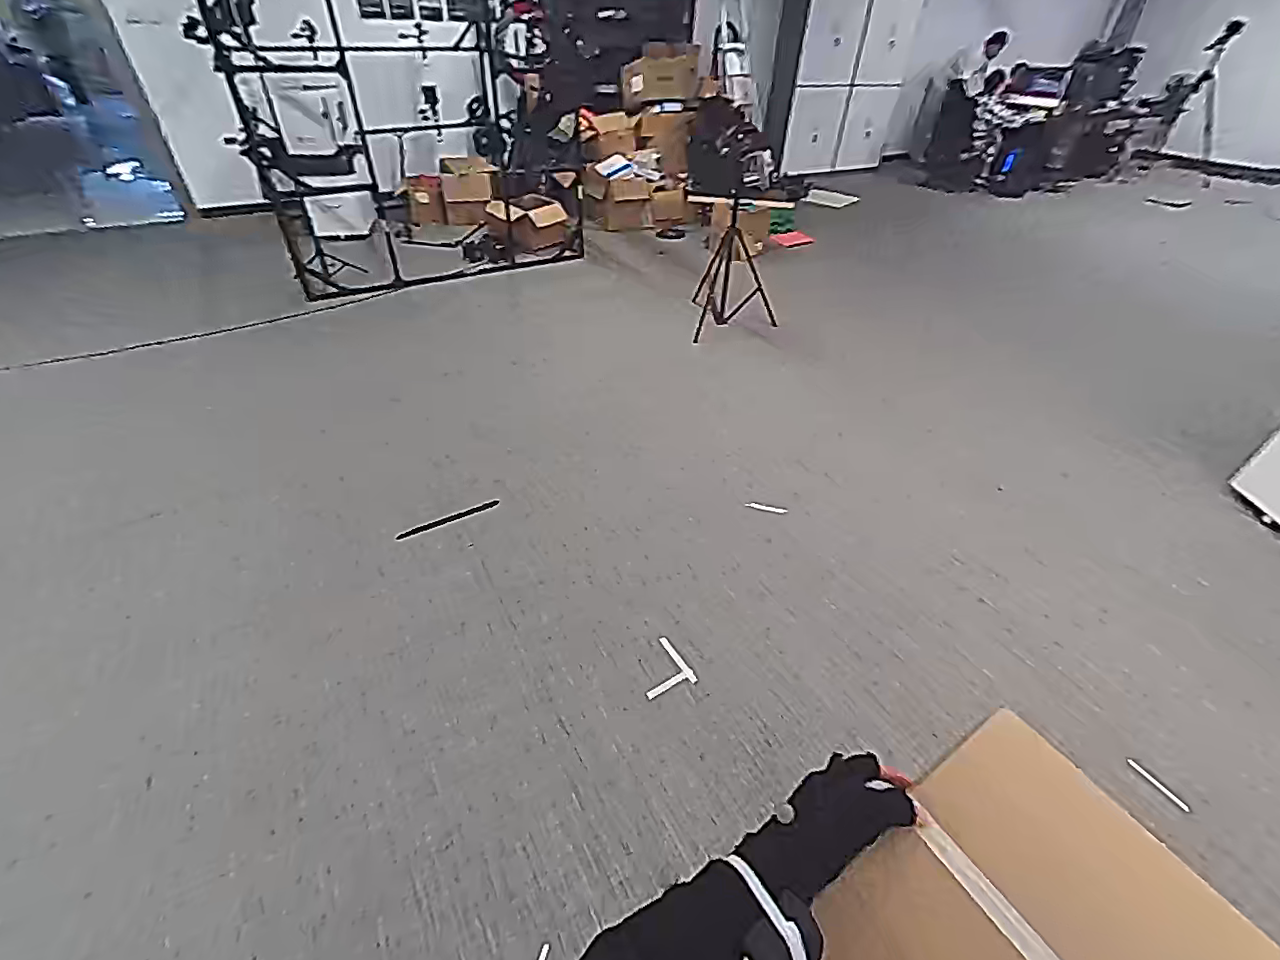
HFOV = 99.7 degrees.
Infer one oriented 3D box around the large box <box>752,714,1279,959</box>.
[{"bbox_3d":[0.362,0.519,0.499,0.320,0.320,0.408,-28,51,-19],"label":"large box"}]
